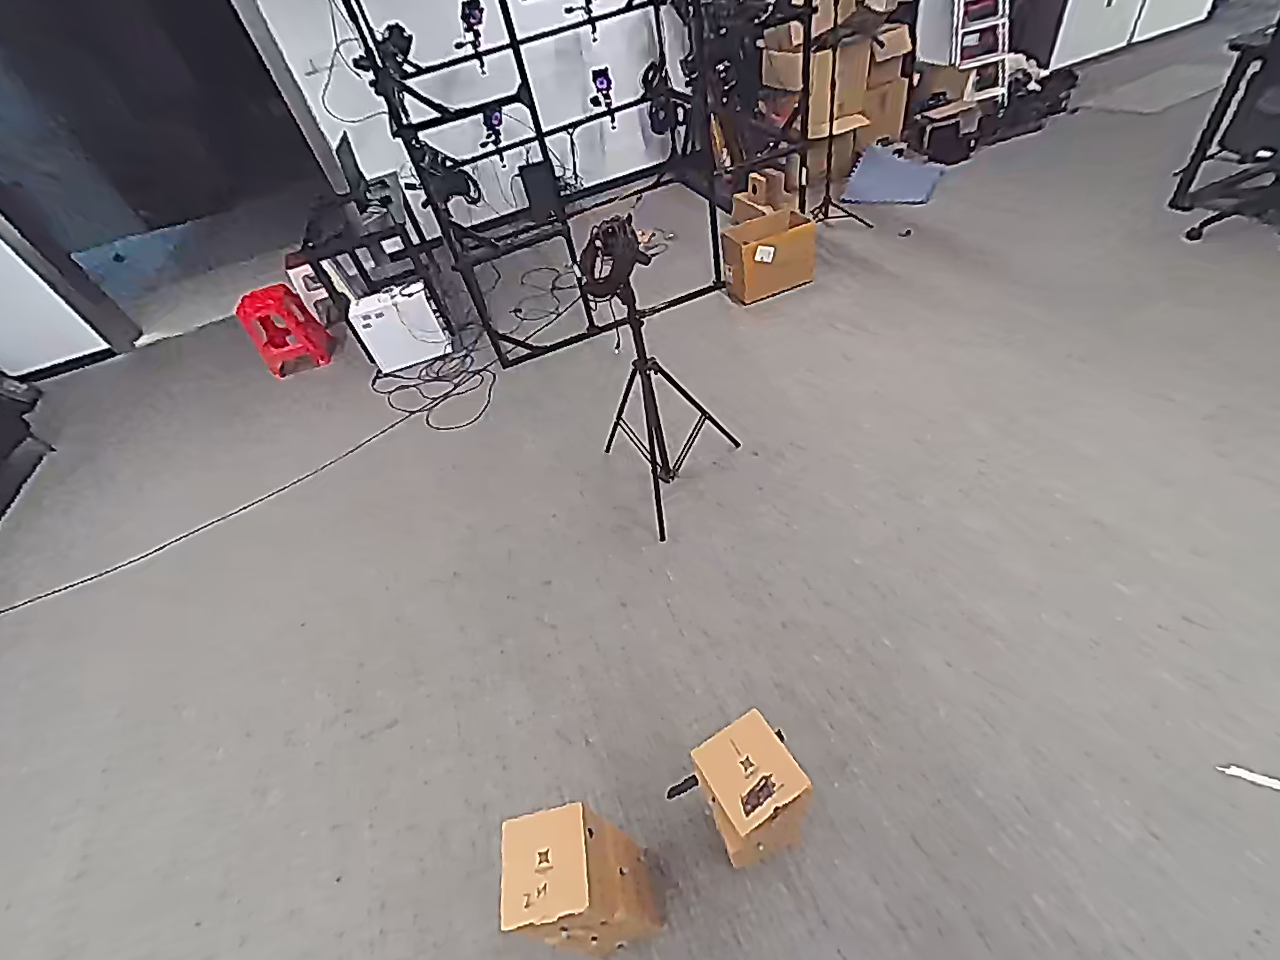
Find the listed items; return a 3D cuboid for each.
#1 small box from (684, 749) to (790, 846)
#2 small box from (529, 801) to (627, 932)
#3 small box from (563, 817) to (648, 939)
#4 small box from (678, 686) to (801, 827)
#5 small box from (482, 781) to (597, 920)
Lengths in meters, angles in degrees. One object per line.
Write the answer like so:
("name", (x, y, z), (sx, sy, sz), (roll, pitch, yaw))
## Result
("small box", (0.213, 0.666, 1.193), (0.168, 0.176, 0.179), (-23, 45, -8))
("small box", (-0.137, 0.818, 1.142), (0.168, 0.176, 0.179), (-19, 46, -3))
("small box", (-0.096, 0.925, 1.255), (0.168, 0.176, 0.179), (-22, 46, -4))
("small box", (0.198, 0.553, 1.072), (0.168, 0.176, 0.179), (-28, 47, -13))
("small box", (-0.188, 0.707, 1.030), (0.168, 0.176, 0.179), (-15, 46, 2))
